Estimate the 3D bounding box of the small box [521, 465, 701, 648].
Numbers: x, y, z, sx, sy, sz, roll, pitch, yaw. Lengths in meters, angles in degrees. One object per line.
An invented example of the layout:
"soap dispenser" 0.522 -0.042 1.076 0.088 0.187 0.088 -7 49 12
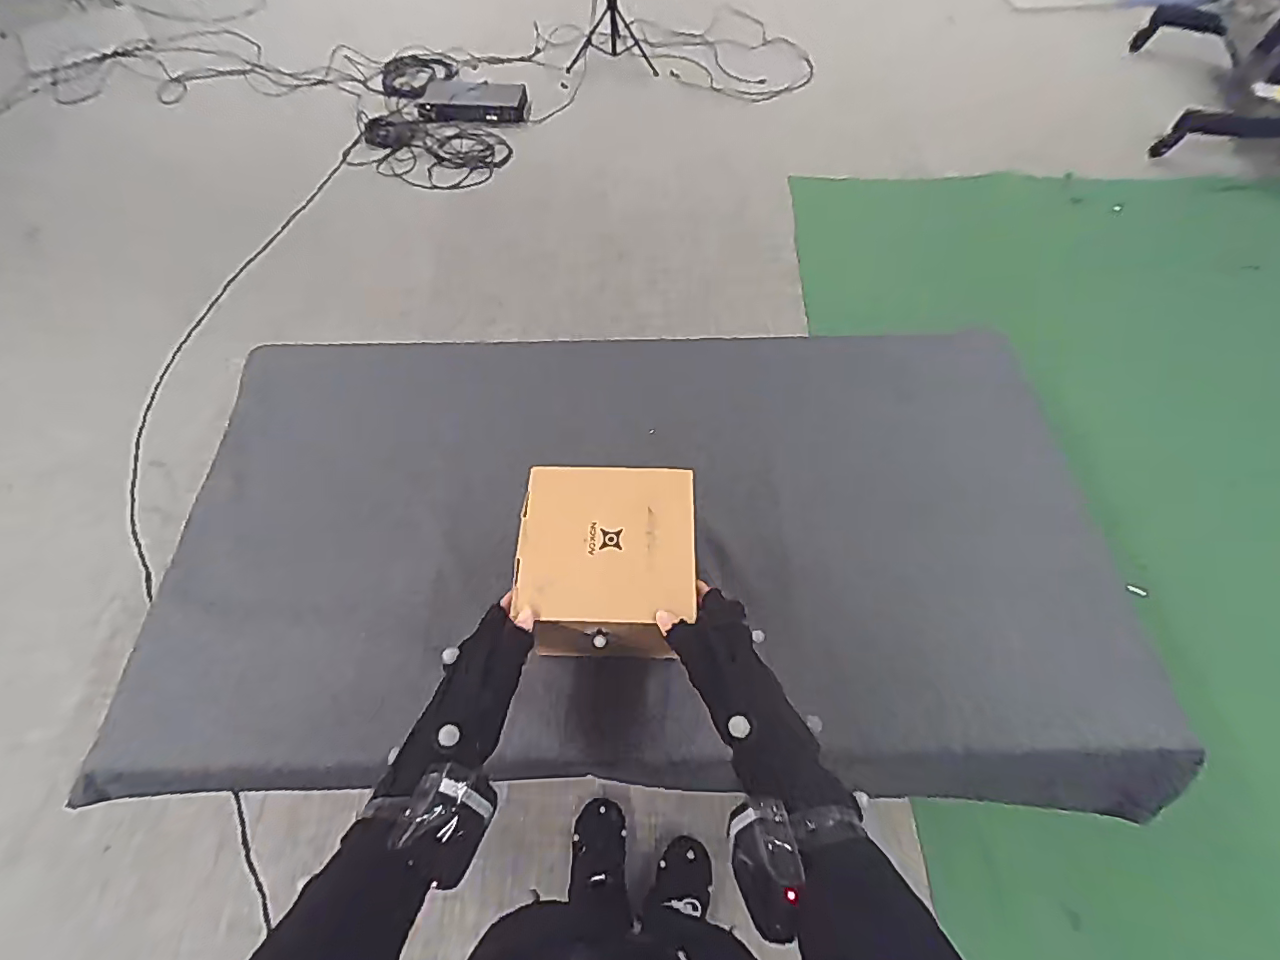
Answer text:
"small box" -0.027 0.095 0.624 0.179 0.176 0.168 1 62 -1
